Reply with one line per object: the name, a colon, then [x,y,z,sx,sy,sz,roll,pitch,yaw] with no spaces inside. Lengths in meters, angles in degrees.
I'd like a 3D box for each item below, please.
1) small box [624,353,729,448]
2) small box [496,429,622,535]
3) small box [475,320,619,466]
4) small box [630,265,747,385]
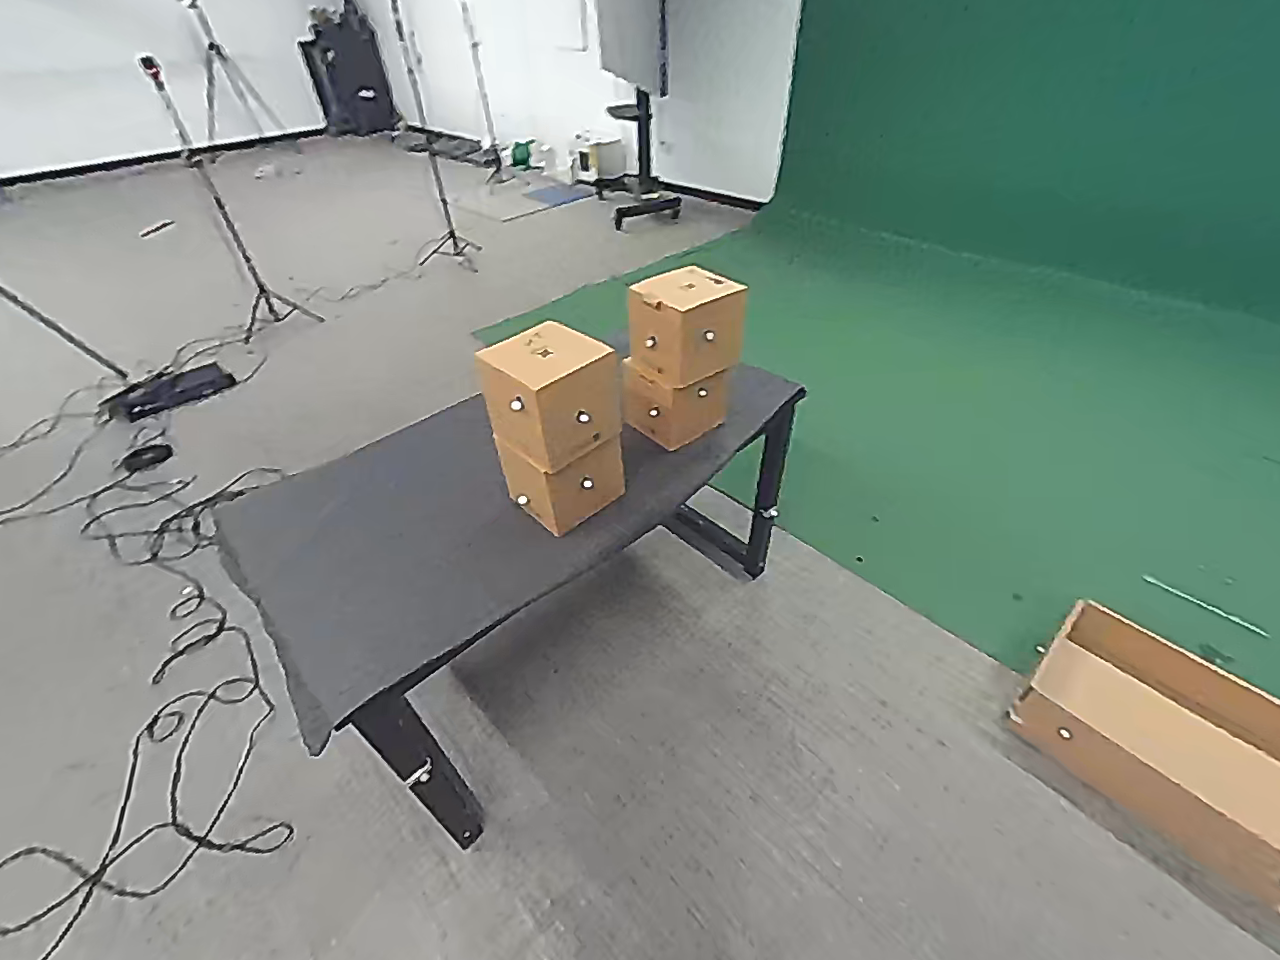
small box: [0.084,-0.198,1.227,0.179,0.176,0.168,-30,49,-29]
small box: [-0.148,-0.029,1.044,0.179,0.176,0.168,-34,49,-29]
small box: [-0.151,-0.147,0.930,0.168,0.176,0.179,-34,50,-31]
small box: [0.099,-0.318,1.114,0.179,0.176,0.168,-28,48,-26]
